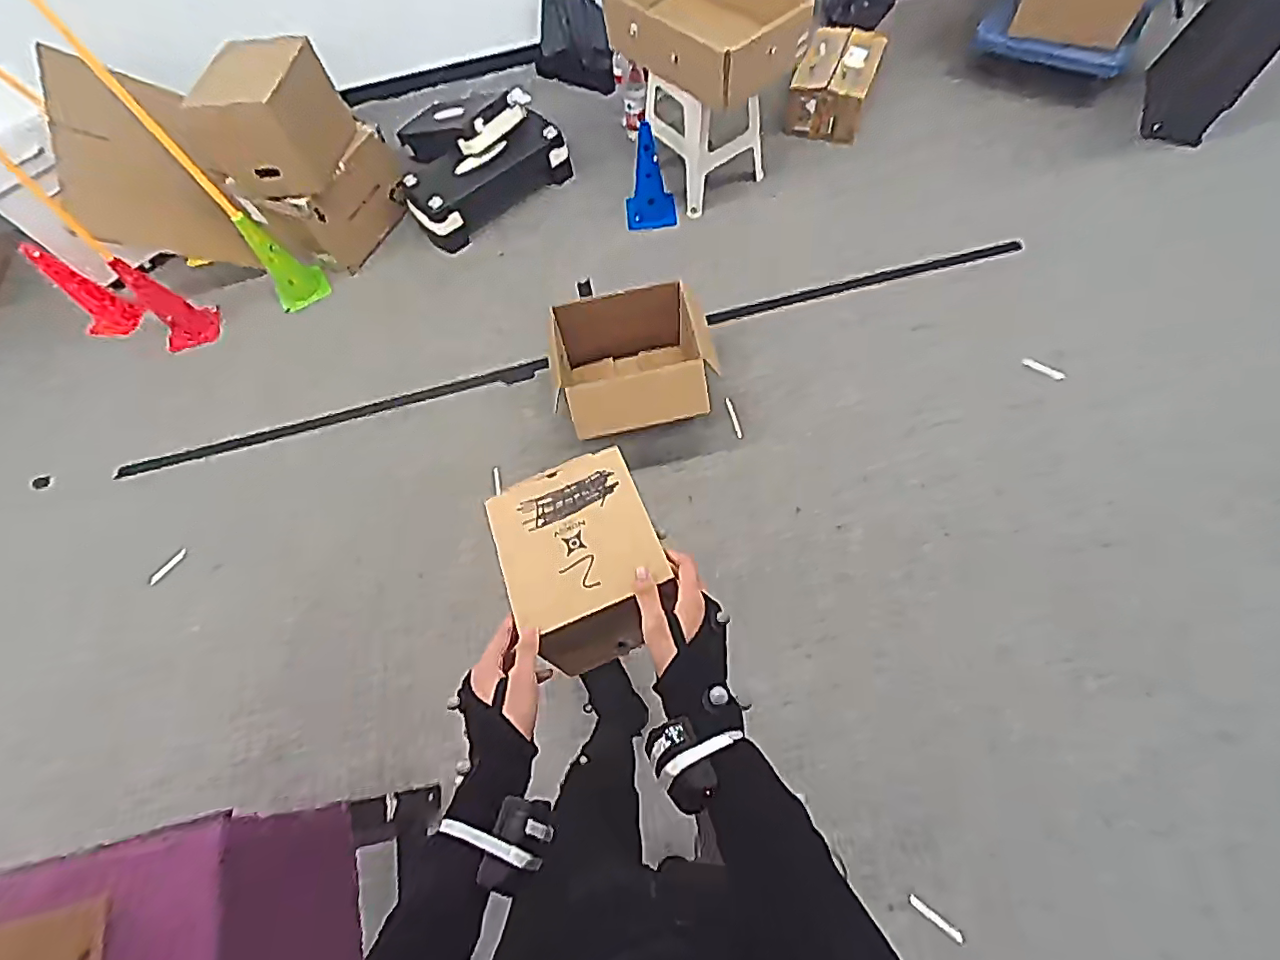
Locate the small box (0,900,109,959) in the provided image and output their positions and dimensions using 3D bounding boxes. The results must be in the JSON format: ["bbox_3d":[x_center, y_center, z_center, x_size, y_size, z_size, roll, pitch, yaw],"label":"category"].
[{"bbox_3d":[-0.765,0.608,0.601,0.179,0.176,0.168,-17,65,-2],"label":"small box"}]
